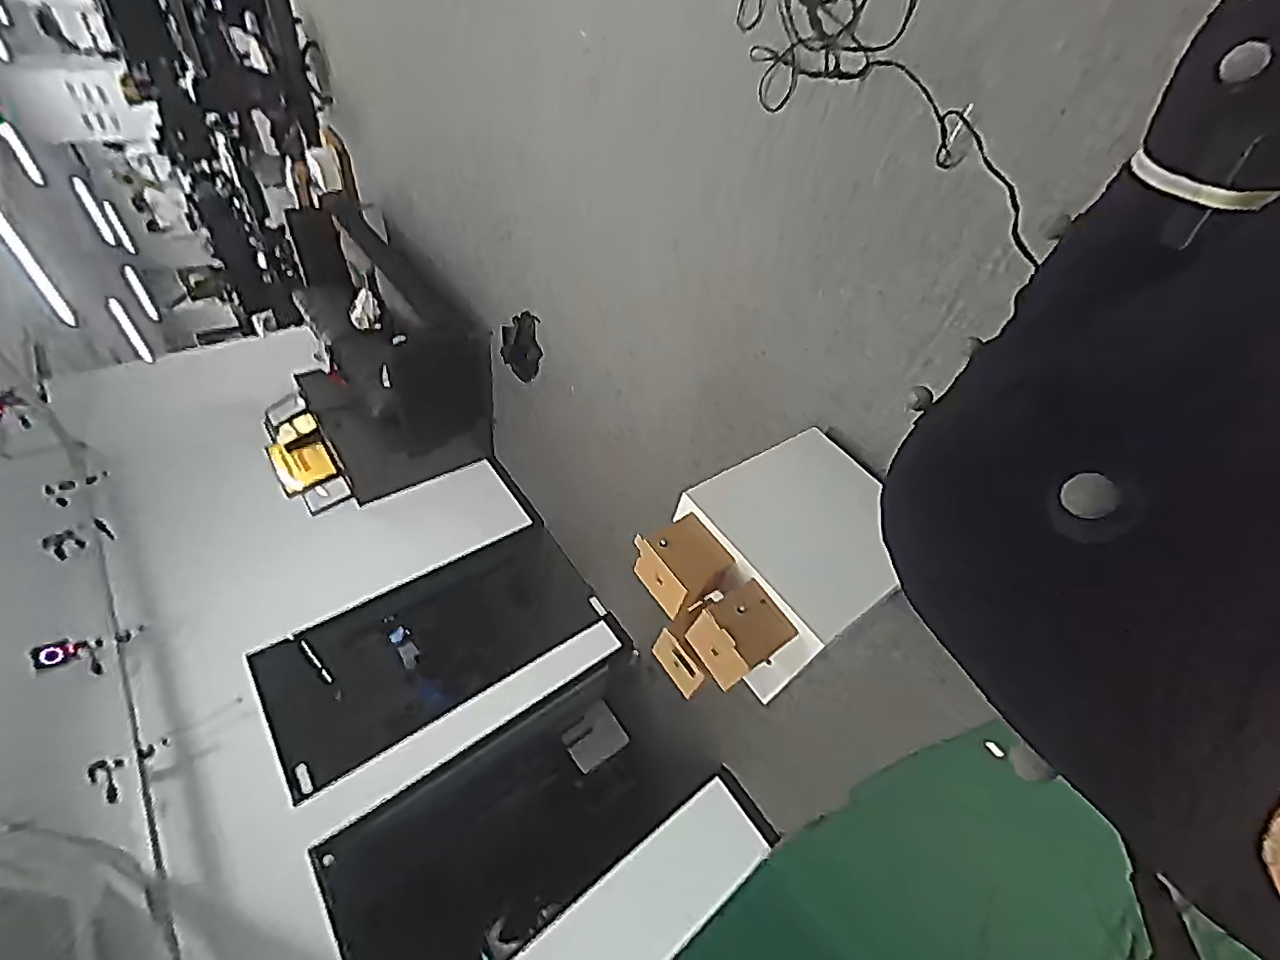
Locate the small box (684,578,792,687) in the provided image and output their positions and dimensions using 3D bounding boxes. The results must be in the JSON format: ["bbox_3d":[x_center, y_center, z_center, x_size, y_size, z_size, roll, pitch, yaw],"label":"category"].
[{"bbox_3d":[0.239,0.366,1.314,0.168,0.176,0.179,53,150,23],"label":"small box"}]
